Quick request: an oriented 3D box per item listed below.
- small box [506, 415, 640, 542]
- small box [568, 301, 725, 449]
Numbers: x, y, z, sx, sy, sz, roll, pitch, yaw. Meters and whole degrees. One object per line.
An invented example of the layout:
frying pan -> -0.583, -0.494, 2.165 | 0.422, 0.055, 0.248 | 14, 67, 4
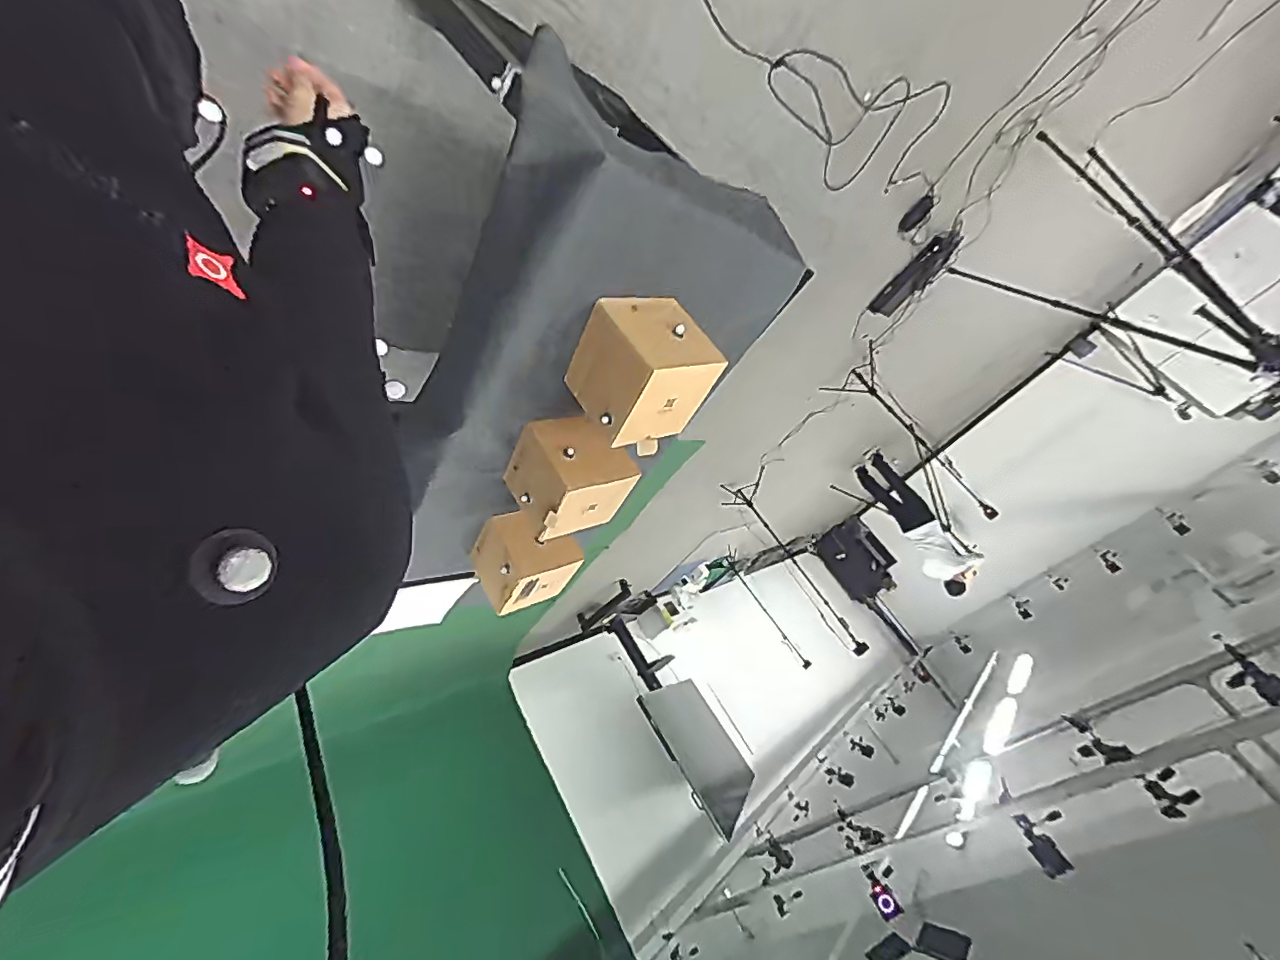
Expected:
small box -> -0.139, -0.009, 1.063 | 0.179, 0.176, 0.168 | -15, 152, -41
small box -> 0.001, -0.182, 0.908 | 0.168, 0.176, 0.179 | -16, 151, -39
